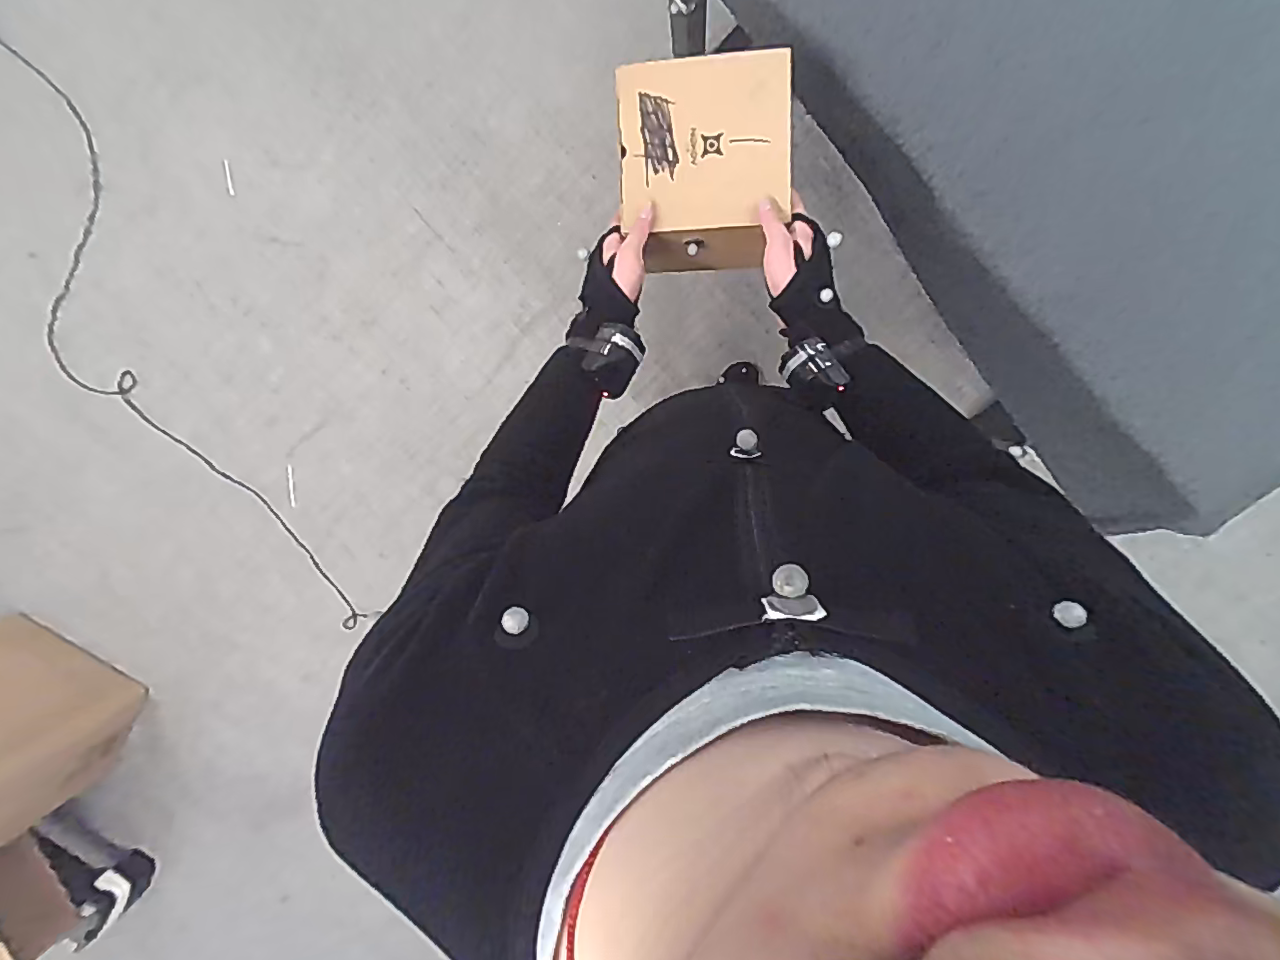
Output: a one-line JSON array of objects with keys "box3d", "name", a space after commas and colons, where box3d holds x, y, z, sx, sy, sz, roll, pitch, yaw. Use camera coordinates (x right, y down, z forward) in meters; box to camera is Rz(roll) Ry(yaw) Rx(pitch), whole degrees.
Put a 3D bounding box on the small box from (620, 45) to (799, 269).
[{"box3d": [0.076, -0.347, 0.616, 0.179, 0.176, 0.168, -1, 98, 5], "name": "small box"}]
